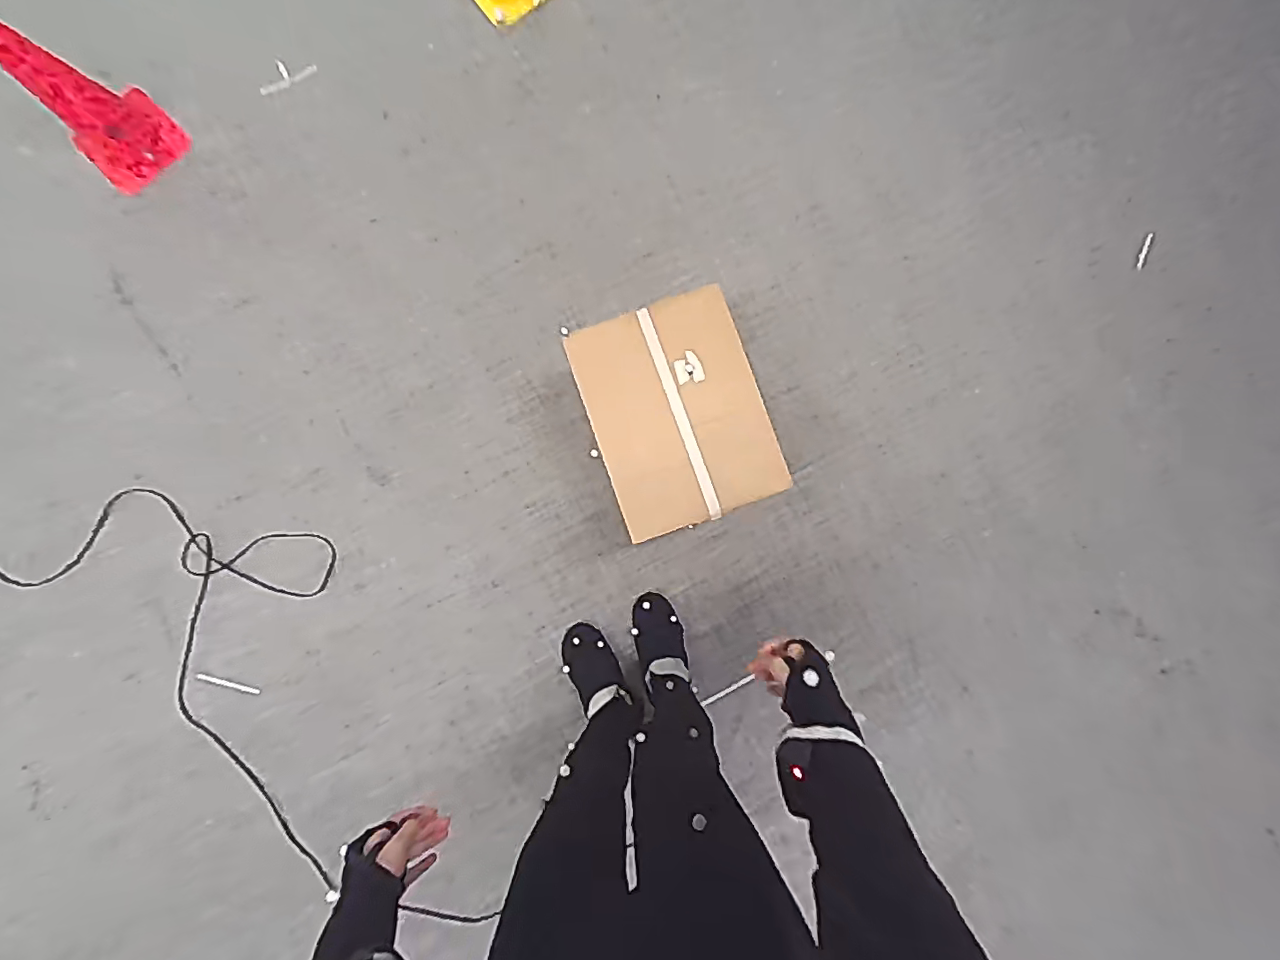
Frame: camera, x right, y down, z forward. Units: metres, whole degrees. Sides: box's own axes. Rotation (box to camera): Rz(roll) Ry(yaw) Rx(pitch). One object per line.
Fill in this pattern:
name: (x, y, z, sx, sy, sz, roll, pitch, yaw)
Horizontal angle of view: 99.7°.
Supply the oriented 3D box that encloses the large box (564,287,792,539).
large box: (0.068, -0.116, 1.141, 0.320, 0.320, 0.408, -20, 86, -3)
